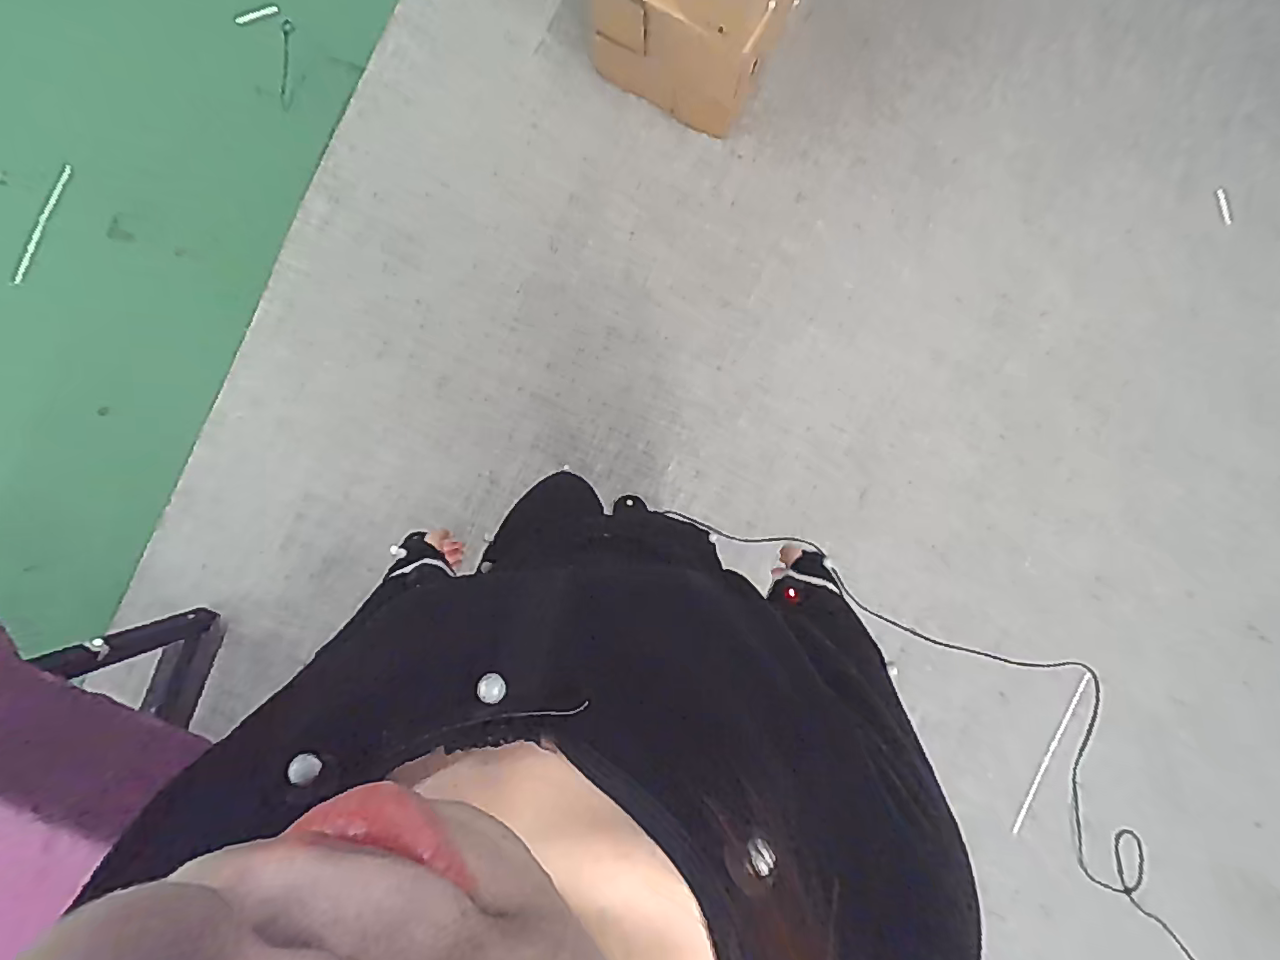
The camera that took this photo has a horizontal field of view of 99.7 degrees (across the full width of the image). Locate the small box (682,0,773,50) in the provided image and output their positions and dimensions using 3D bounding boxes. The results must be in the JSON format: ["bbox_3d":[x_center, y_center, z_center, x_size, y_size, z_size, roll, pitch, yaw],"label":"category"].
[{"bbox_3d":[0.197,-1.048,1.099,0.168,0.176,0.179,31,88,1],"label":"small box"}]
